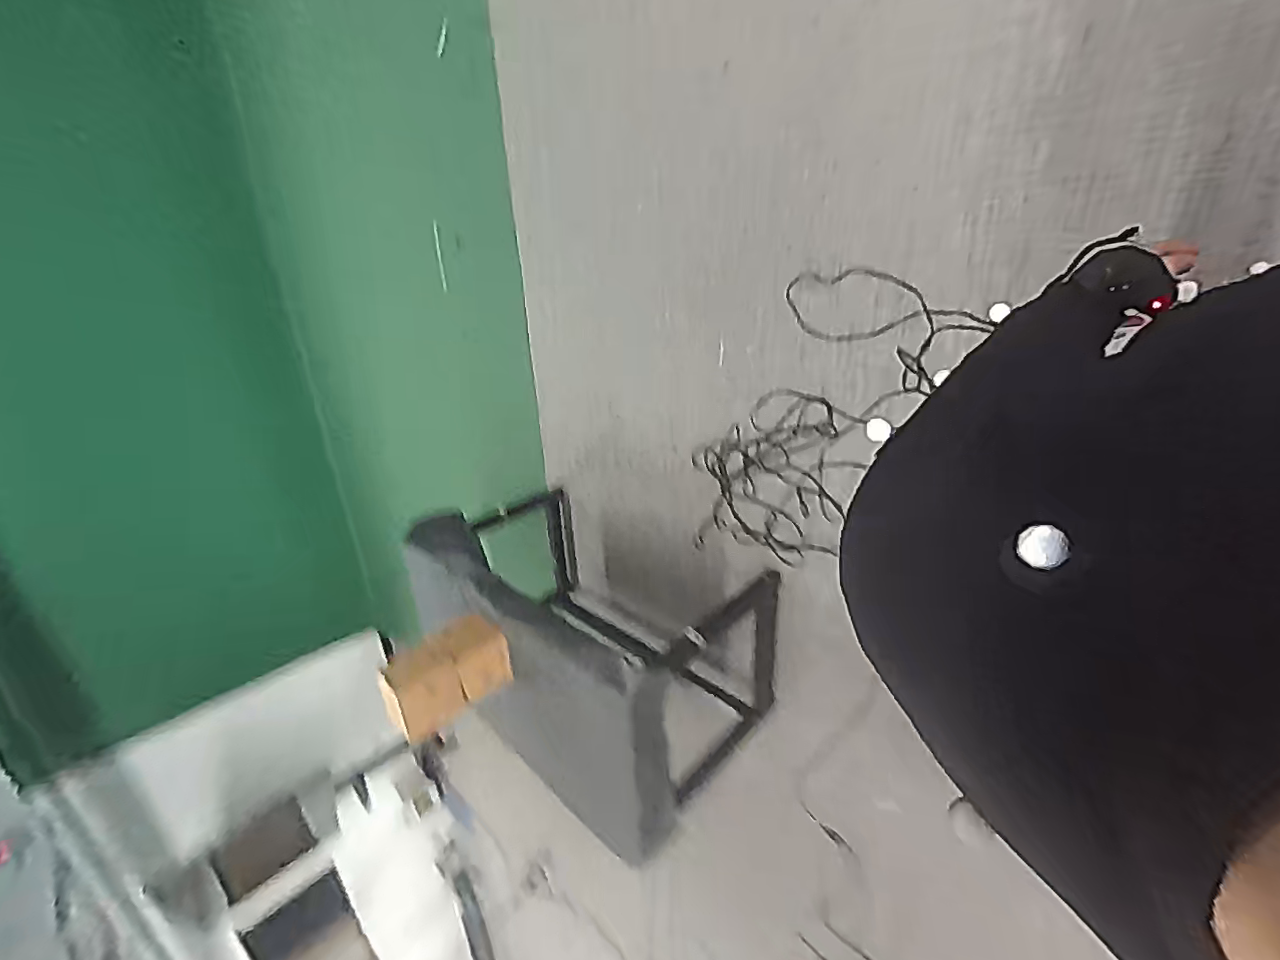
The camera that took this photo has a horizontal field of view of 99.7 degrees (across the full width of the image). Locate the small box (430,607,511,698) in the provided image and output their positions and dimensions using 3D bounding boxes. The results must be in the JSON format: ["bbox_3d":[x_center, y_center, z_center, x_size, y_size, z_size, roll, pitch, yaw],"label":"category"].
[{"bbox_3d":[-0.508,0.517,1.651,0.179,0.176,0.168,21,123,40],"label":"small box"}]

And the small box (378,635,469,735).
[{"bbox_3d":[-0.613,0.573,1.540,0.168,0.176,0.179,15,120,44],"label":"small box"}]
